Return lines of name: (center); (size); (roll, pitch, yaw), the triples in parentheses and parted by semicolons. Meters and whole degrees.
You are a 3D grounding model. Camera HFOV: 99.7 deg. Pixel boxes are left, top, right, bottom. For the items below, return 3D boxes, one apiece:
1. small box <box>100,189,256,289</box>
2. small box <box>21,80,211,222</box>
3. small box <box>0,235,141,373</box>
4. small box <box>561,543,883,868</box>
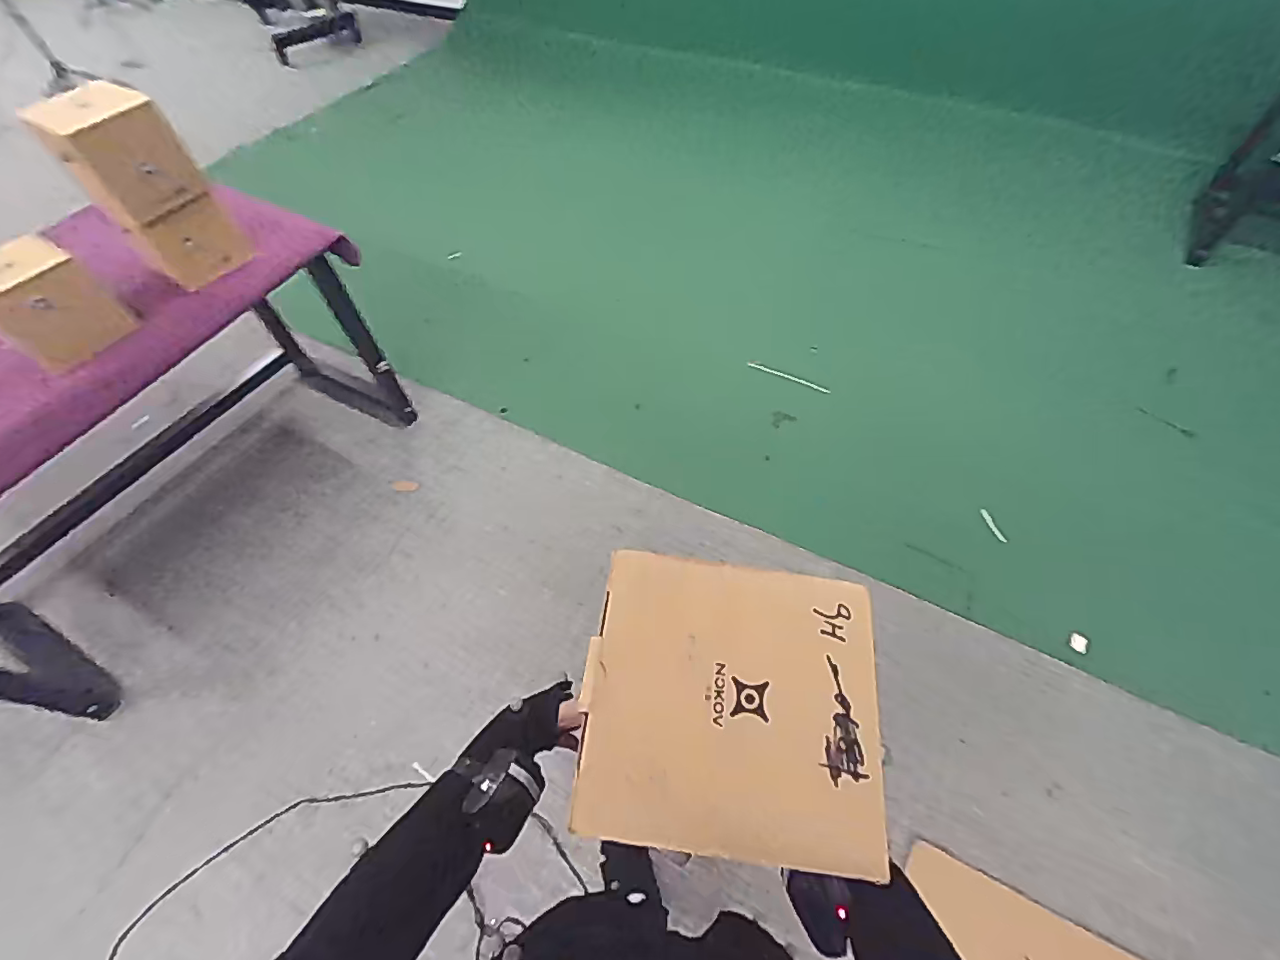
small box: (-1.007, -0.550, 1.193); (0.179, 0.176, 0.168); (31, 63, 20)
small box: (-0.999, -0.632, 1.049); (0.179, 0.176, 0.168); (28, 62, 18)
small box: (-1.154, -0.340, 1.055); (0.168, 0.176, 0.179); (26, 60, 19)
small box: (0.050, 0.162, 0.395); (0.179, 0.176, 0.168); (8, 61, 1)
